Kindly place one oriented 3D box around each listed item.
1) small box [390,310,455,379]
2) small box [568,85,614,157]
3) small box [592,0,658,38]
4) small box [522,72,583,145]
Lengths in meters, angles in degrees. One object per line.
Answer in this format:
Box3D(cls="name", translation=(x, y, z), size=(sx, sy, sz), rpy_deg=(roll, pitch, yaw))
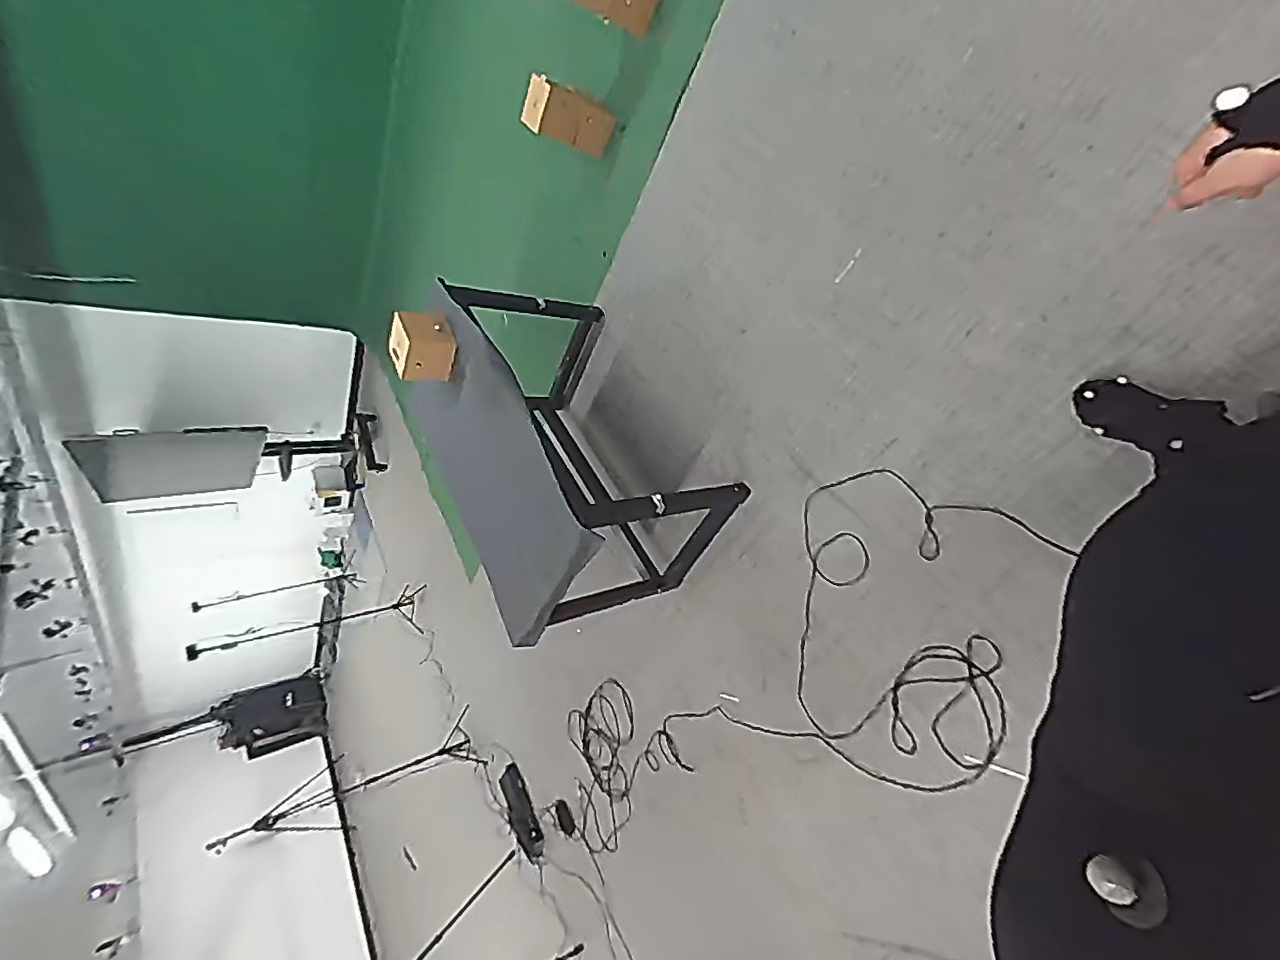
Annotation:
Box3D(cls="small box", translation=(-0.774, -0.477, 1.925), size=(0.168, 0.176, 0.179), rpy_deg=(59, 136, 25))
Box3D(cls="small box", translation=(-0.231, -1.518, 2.291), size=(0.179, 0.176, 0.168), rpy_deg=(-53, 56, 40))
Box3D(cls="small box", translation=(-0.047, -1.830, 2.038), size=(0.168, 0.176, 0.179), rpy_deg=(58, 134, 26))
Box3D(cls="small box", translation=(-0.349, -1.495, 2.181), size=(0.168, 0.176, 0.179), rpy_deg=(54, 132, 31))
